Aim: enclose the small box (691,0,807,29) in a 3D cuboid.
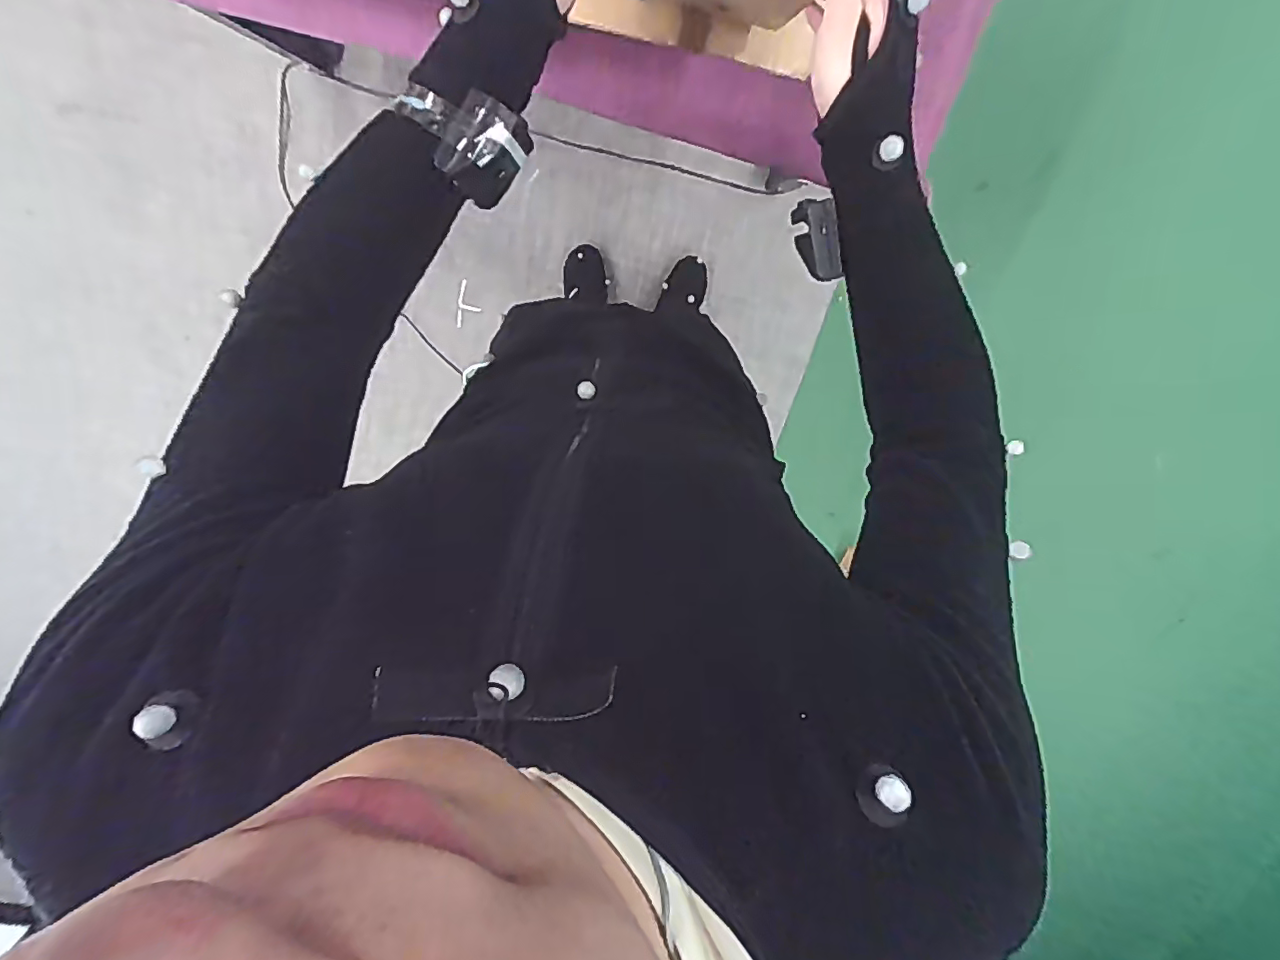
[{"bbox_3d":[0.078,-0.472,0.394,0.168,0.176,0.179,10,117,-10],"label":"small box"}]
